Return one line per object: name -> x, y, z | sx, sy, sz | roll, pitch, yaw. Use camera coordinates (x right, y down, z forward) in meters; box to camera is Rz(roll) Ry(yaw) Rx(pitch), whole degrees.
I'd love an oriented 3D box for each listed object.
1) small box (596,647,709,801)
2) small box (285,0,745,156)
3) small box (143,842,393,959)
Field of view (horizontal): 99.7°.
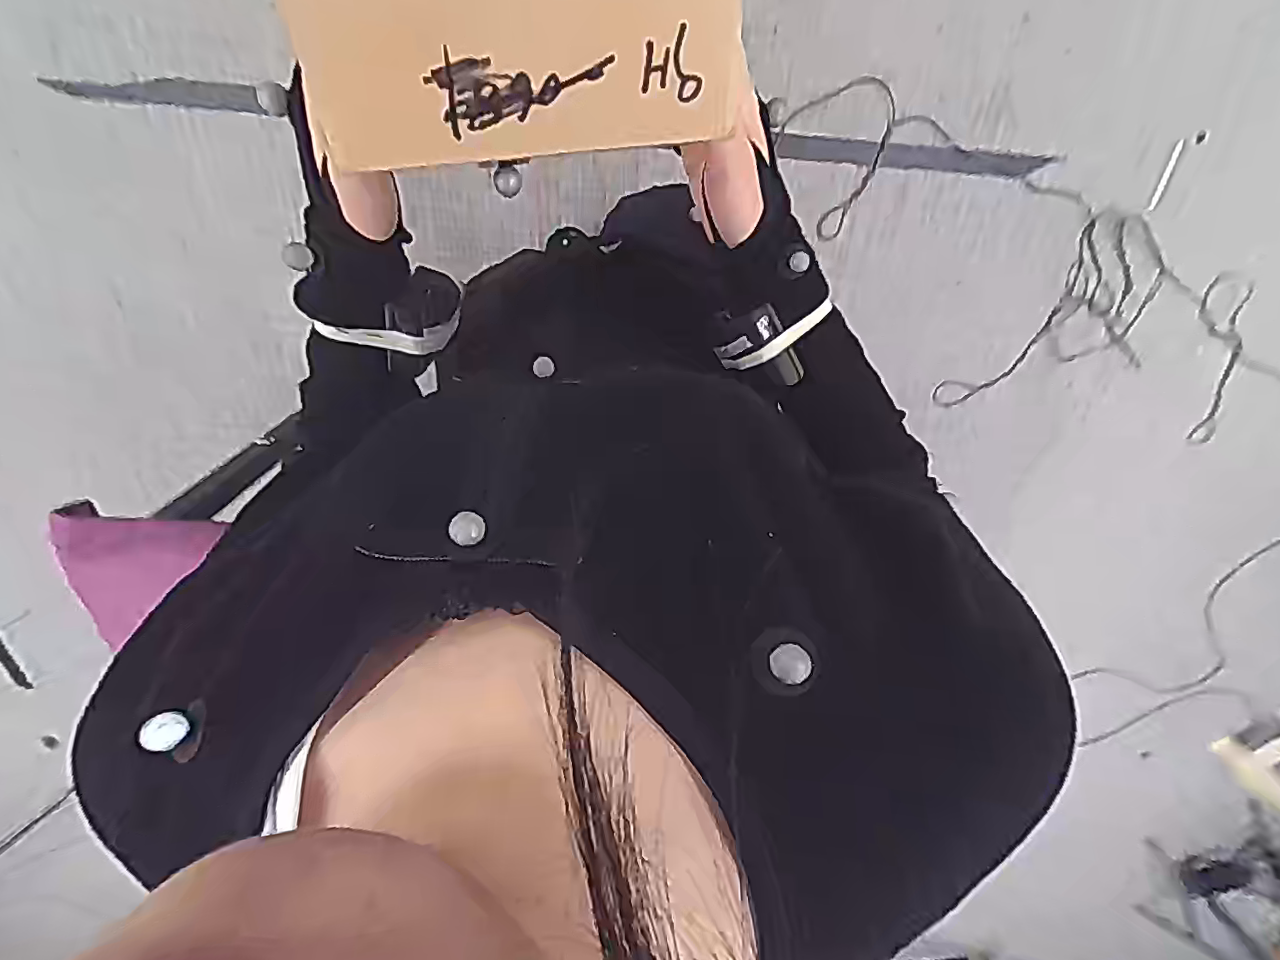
small box -> 0.012, 0.393, 0.892 | 0.168, 0.176, 0.179 | 0, 118, -4
small box -> -0.057, -0.250, 0.239 | 0.168, 0.176, 0.179 | -8, 123, -5
small box -> -0.380, 0.502, 0.554 | 0.179, 0.176, 0.168 | 2, 118, -5
